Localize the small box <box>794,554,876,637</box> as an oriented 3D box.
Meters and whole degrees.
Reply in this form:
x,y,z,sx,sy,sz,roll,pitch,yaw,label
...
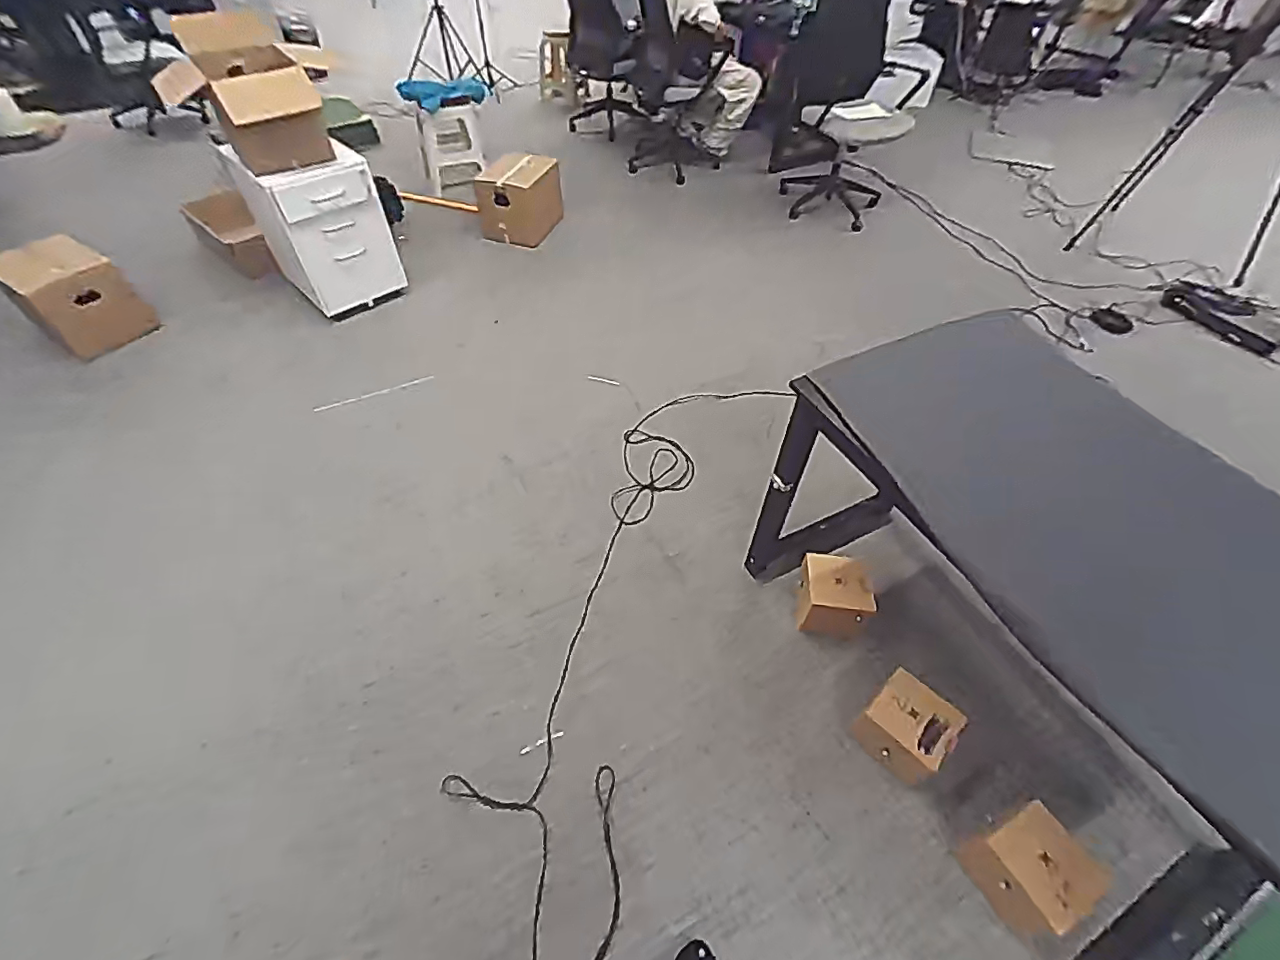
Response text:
x,y,z,sx,sy,sz,roll,pitch,yaw,label
0.545,0.333,1.541,0.179,0.176,0.168,6,49,3,small box

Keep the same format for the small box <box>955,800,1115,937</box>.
x,y,z,sx,sy,sz,roll,pitch,yaw,label
0.811,0.816,1.133,0.168,0.176,0.179,-22,54,-18,small box
